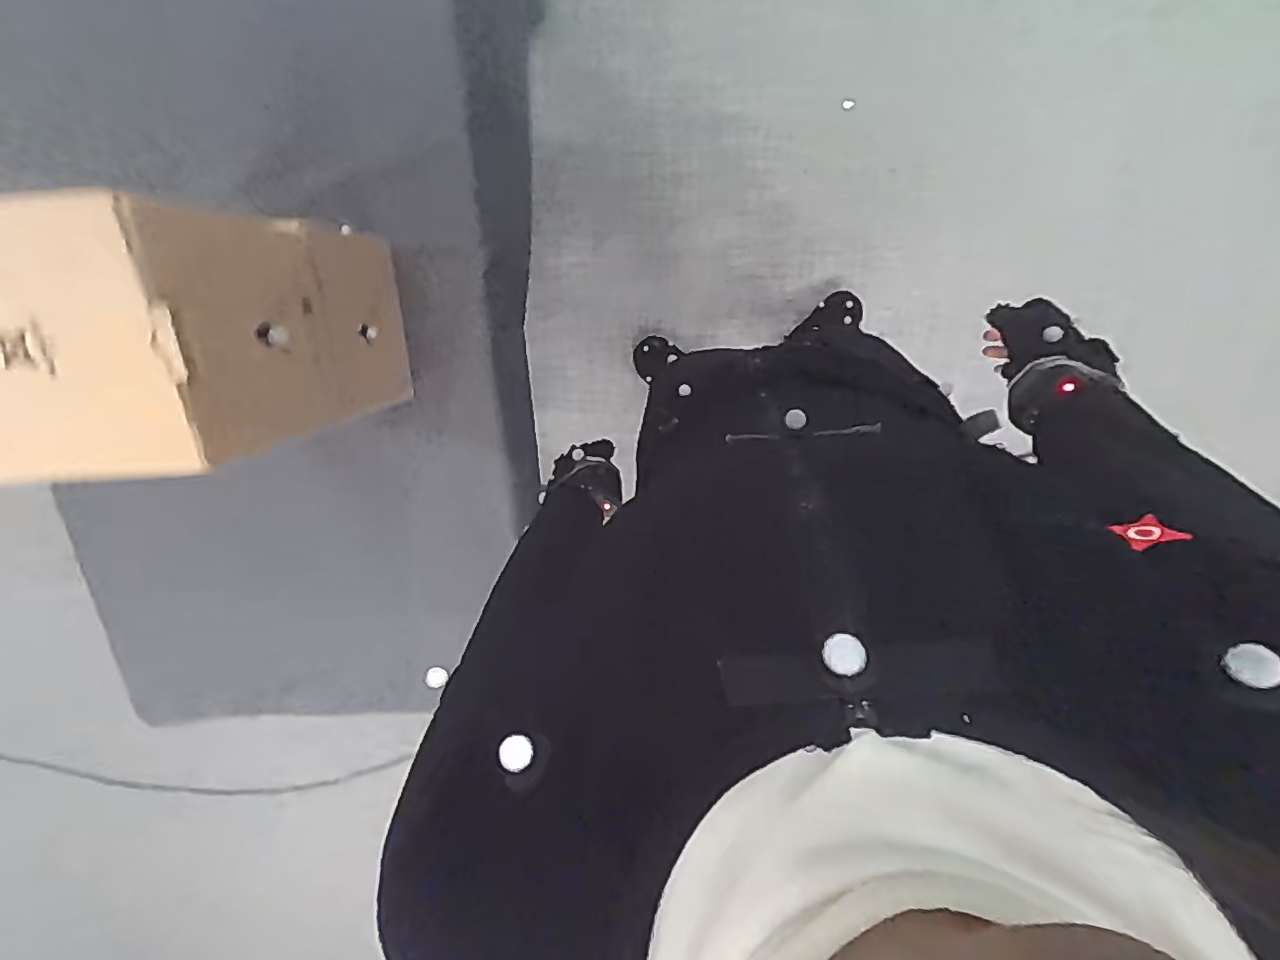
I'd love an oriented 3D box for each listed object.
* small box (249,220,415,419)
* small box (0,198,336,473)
[{"bbox_3d":[-0.360,-0.164,0.571,0.168,0.176,0.179,-2,108,2],"label":"small box"},{"bbox_3d":[-0.365,-0.110,0.417,0.179,0.176,0.168,-3,107,2],"label":"small box"}]
